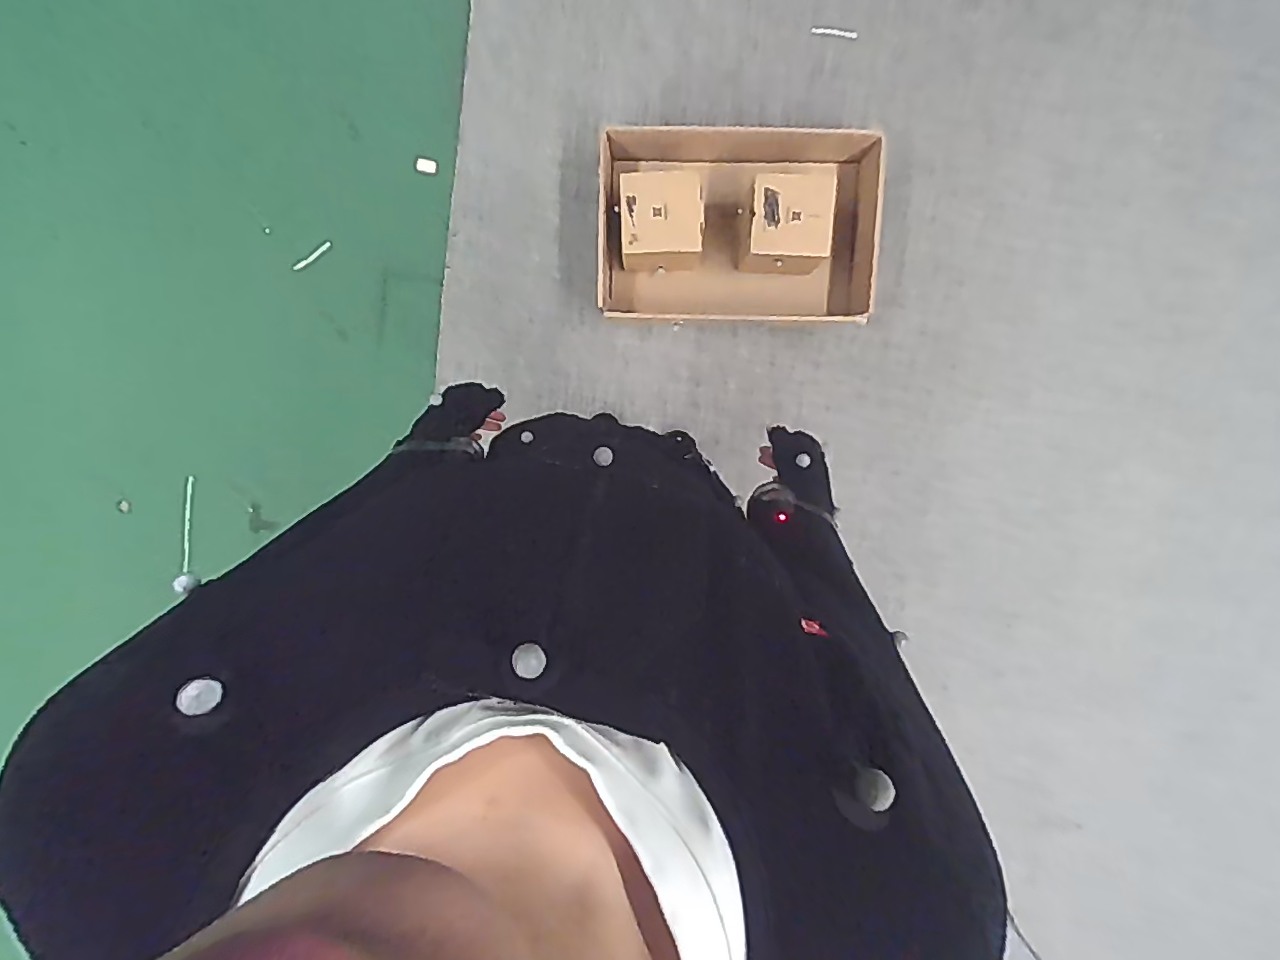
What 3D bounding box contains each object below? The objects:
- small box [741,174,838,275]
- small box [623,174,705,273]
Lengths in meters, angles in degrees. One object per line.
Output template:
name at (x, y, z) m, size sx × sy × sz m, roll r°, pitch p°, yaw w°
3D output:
small box at (0.332, -0.576, 1.238) m, size 0.179 × 0.176 × 0.168 m, roll 4°, pitch 99°, yaw 2°
small box at (0.051, -0.583, 1.243) m, size 0.179 × 0.176 × 0.168 m, roll -1°, pitch 97°, yaw 0°
